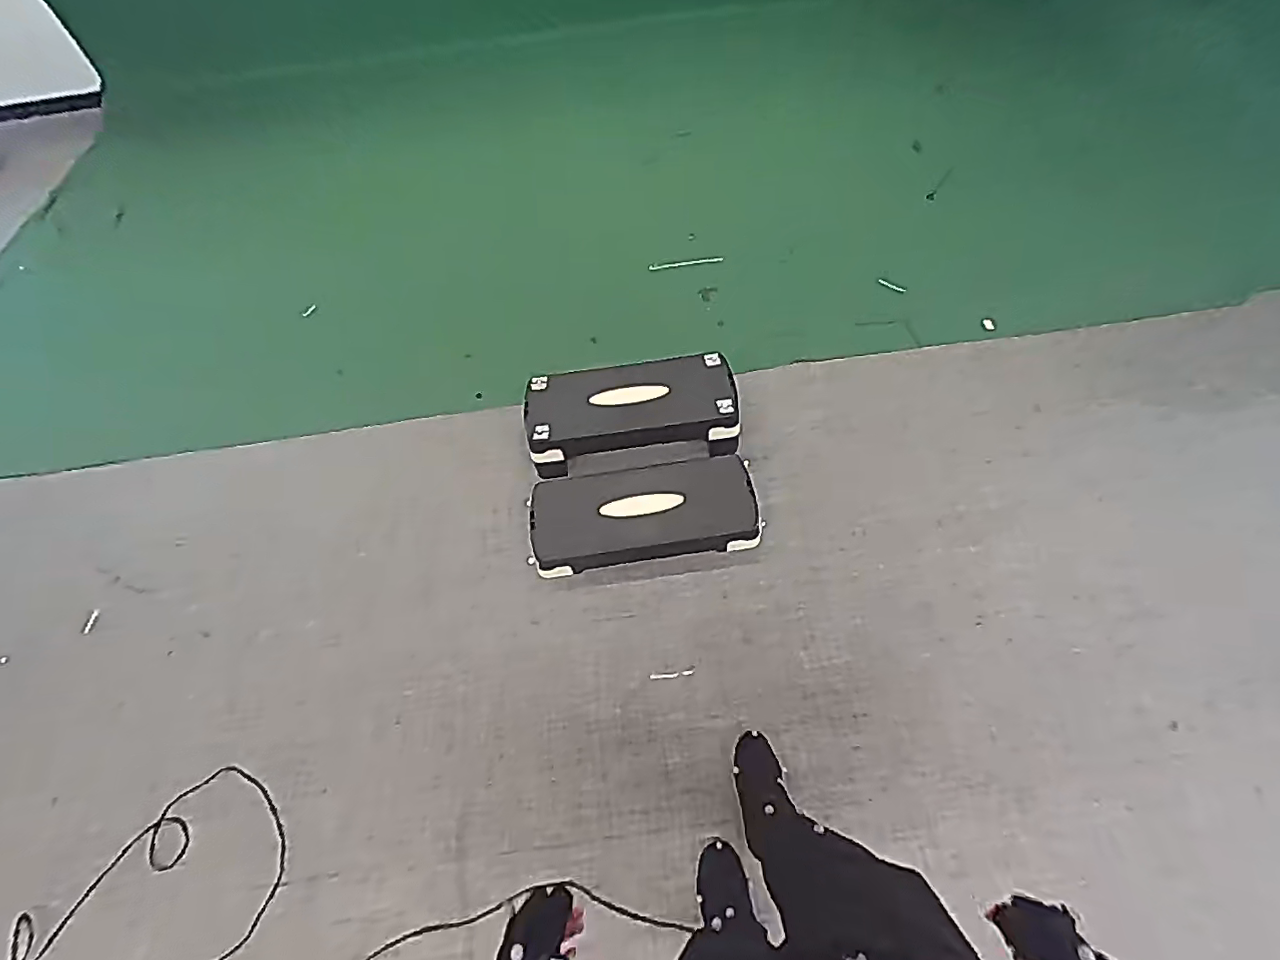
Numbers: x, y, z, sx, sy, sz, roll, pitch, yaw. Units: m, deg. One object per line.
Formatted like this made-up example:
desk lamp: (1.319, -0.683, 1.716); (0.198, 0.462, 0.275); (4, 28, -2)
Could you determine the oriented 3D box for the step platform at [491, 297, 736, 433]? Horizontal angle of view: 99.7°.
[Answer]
step platform: (-0.074, -0.336, 1.591); (0.684, 0.204, 0.286); (-8, 58, 0)
